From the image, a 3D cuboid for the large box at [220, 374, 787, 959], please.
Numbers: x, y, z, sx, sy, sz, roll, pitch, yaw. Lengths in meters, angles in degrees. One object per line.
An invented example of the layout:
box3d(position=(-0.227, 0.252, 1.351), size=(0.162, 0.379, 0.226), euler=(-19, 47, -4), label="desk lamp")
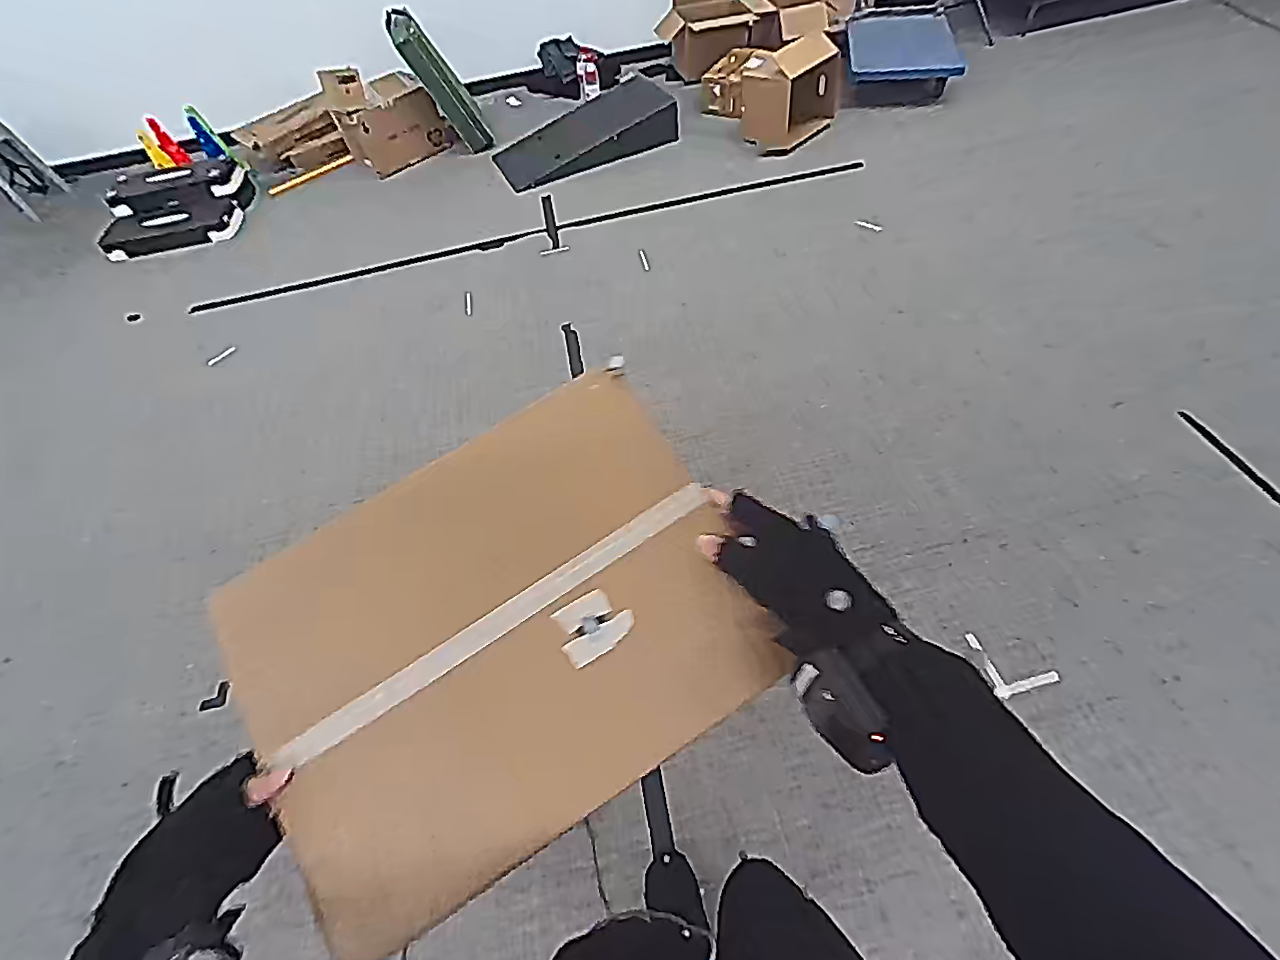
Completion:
box3d(position=(-0.117, 0.169, 0.597), size=(0.408, 0.320, 0.320), euler=(-34, 74, -9), label="large box")
